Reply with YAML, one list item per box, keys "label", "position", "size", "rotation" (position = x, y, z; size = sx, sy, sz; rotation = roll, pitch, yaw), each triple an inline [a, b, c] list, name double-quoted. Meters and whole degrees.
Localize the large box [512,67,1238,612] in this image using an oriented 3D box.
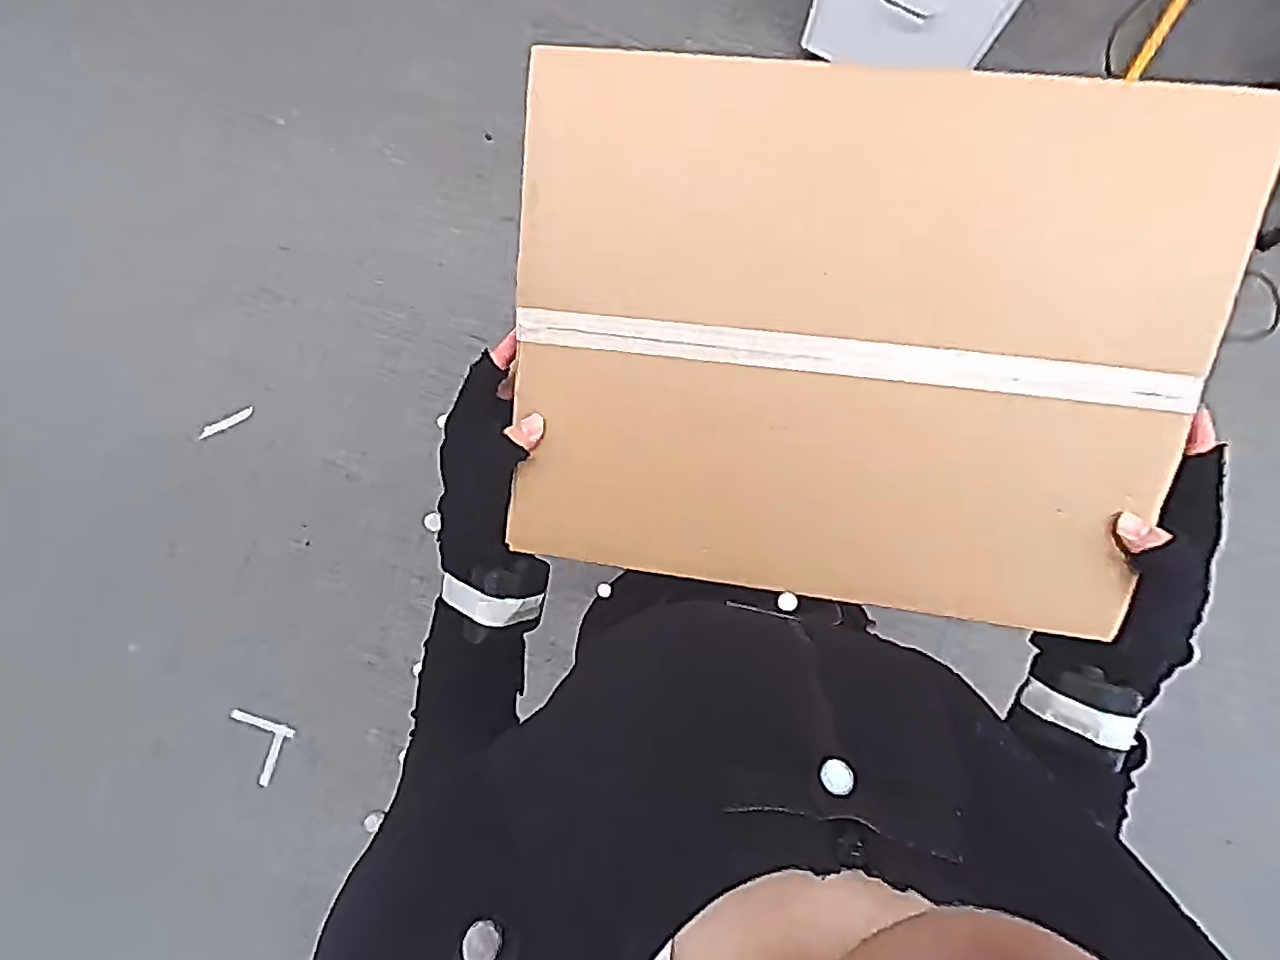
- label: "large box"
  position: [0.129, -0.111, 0.486]
  size: [0.408, 0.320, 0.320]
  rotation: [7, 104, 5]
